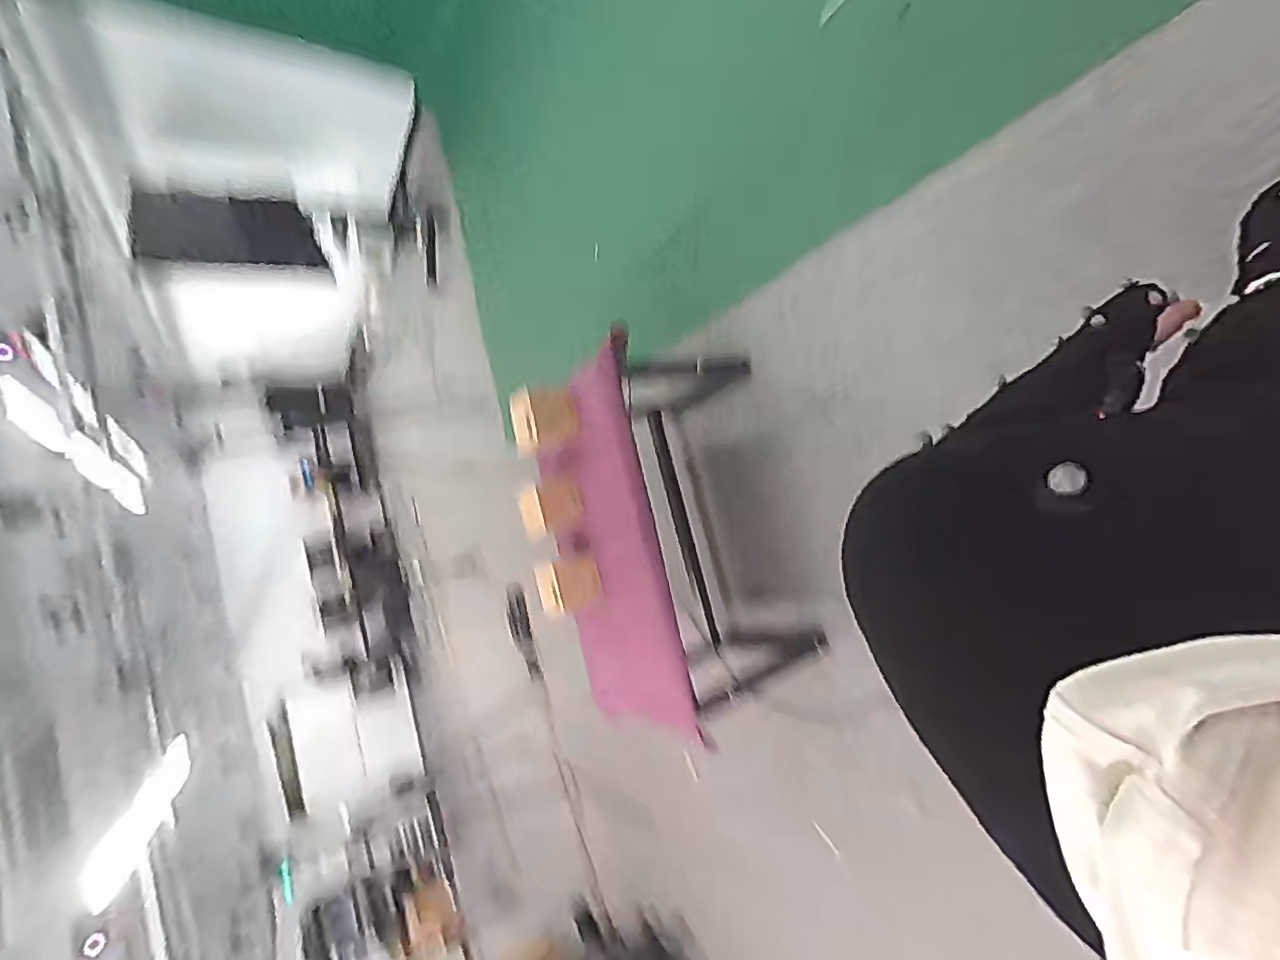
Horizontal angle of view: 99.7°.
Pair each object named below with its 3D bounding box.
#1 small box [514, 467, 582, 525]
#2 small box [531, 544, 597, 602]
[{"bbox_3d":[-0.335,0.058,1.962,0.179,0.176,0.168,-21,84,53],"label":"small box"},{"bbox_3d":[-0.268,0.335,1.947,0.179,0.176,0.168,-20,83,55],"label":"small box"}]
